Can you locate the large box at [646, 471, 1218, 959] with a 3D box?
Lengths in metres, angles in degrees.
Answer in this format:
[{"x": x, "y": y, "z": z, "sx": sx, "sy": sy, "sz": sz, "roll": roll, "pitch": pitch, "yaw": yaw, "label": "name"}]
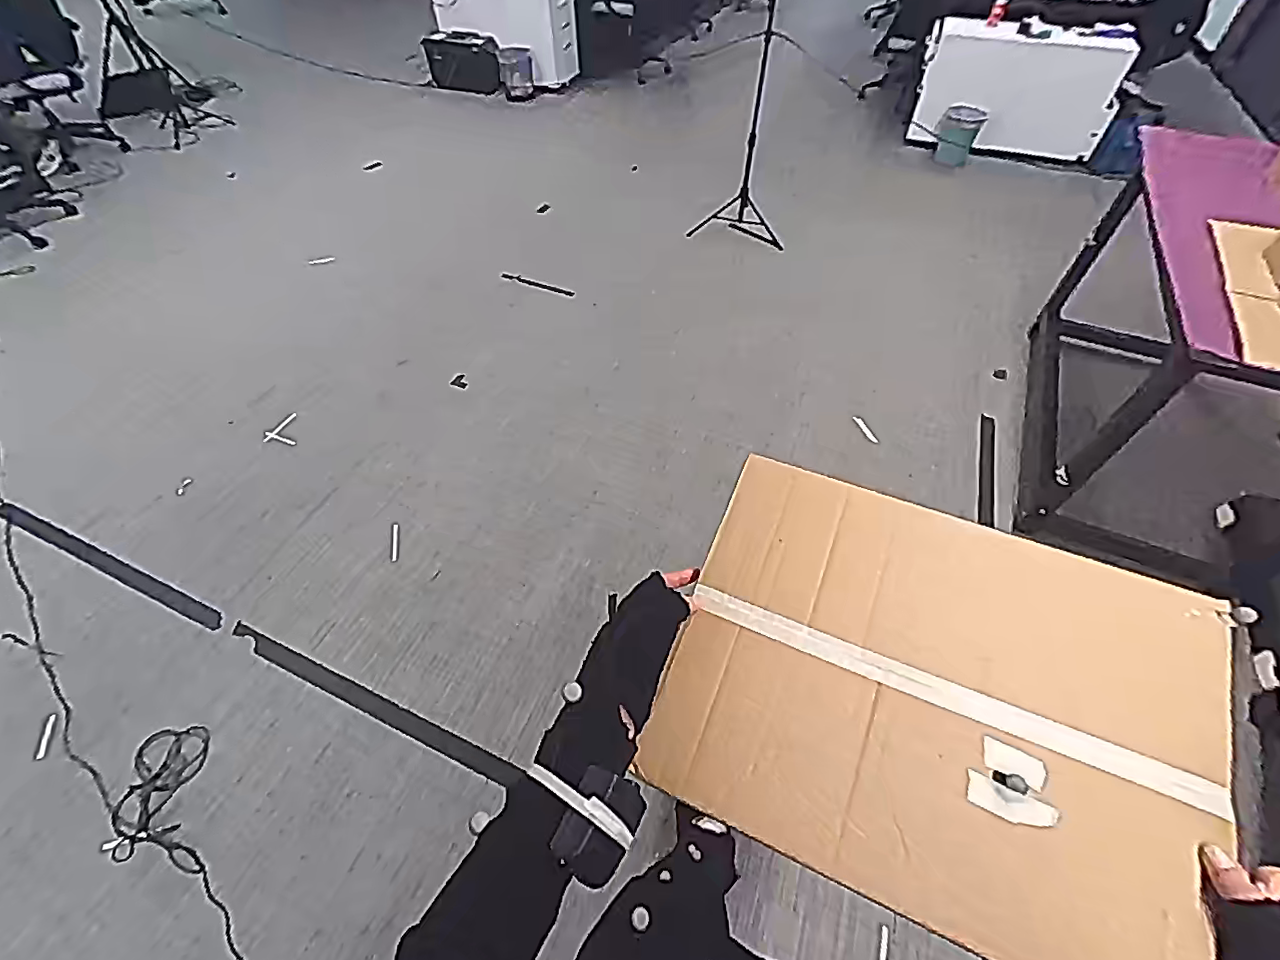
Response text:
[{"x": 0.257, "y": 0.242, "z": 0.584, "sx": 0.408, "sy": 0.320, "sz": 0.320, "roll": 19, "pitch": 68, "yaw": 16, "label": "large box"}]
